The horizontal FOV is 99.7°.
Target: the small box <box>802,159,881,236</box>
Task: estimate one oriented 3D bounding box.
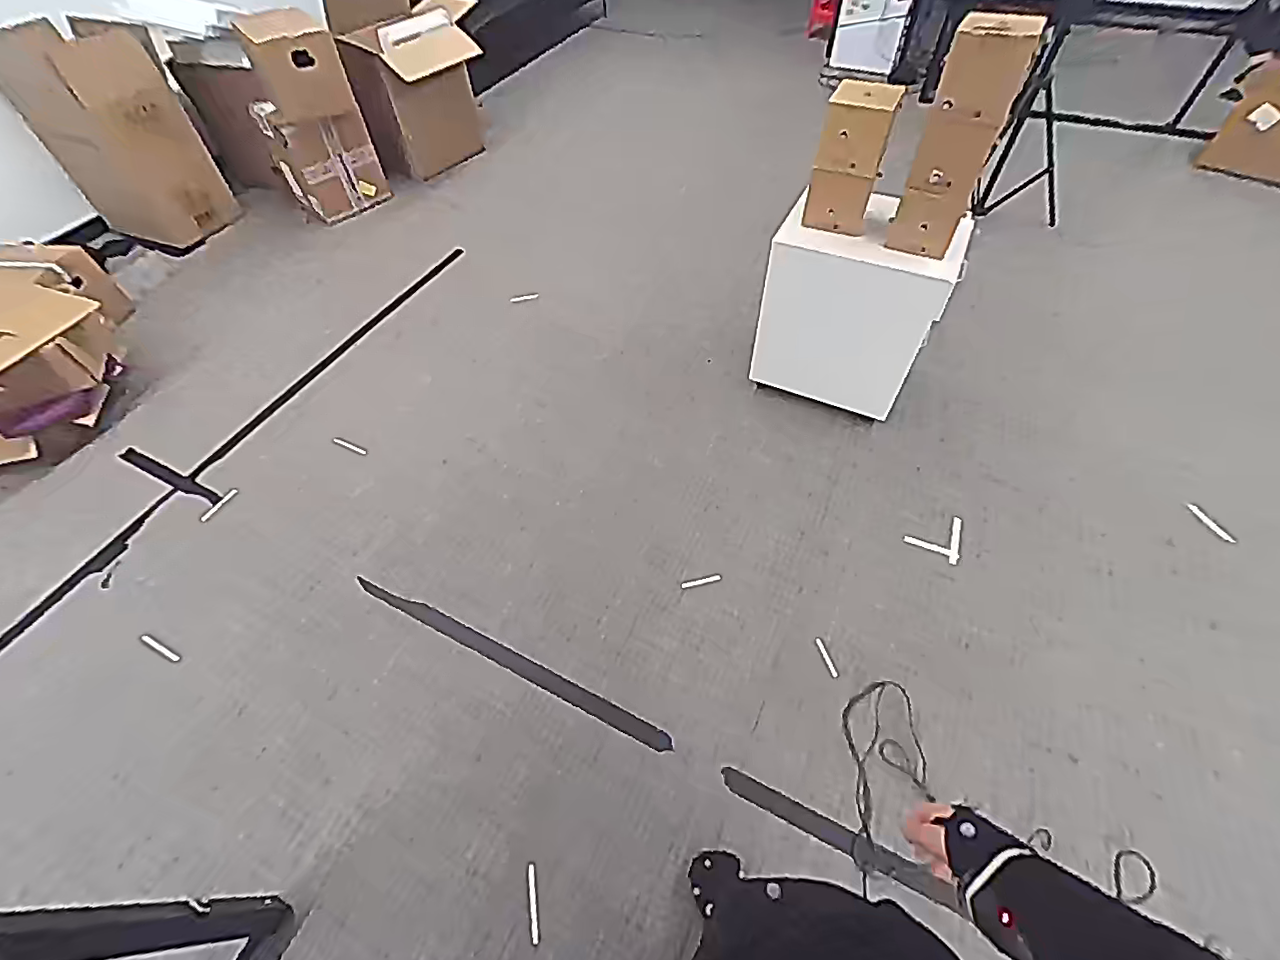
[{"bbox_3d":[0.592,-0.857,1.601,0.168,0.176,0.179,19,57,16],"label":"small box"}]

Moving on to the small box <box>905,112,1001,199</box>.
[{"bbox_3d":[0.806,-0.856,1.390,0.168,0.176,0.179,21,58,19],"label":"small box"}]

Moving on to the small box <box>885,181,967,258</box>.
[{"bbox_3d":[0.808,-0.751,1.516,0.168,0.176,0.179,22,58,19],"label":"small box"}]

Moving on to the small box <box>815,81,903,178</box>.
[{"bbox_3d":[0.588,-0.950,1.468,0.168,0.176,0.179,20,56,16],"label":"small box"}]

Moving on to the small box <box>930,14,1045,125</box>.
[{"bbox_3d":[0.799,-0.953,1.256,0.168,0.176,0.179,23,56,20],"label":"small box"}]
